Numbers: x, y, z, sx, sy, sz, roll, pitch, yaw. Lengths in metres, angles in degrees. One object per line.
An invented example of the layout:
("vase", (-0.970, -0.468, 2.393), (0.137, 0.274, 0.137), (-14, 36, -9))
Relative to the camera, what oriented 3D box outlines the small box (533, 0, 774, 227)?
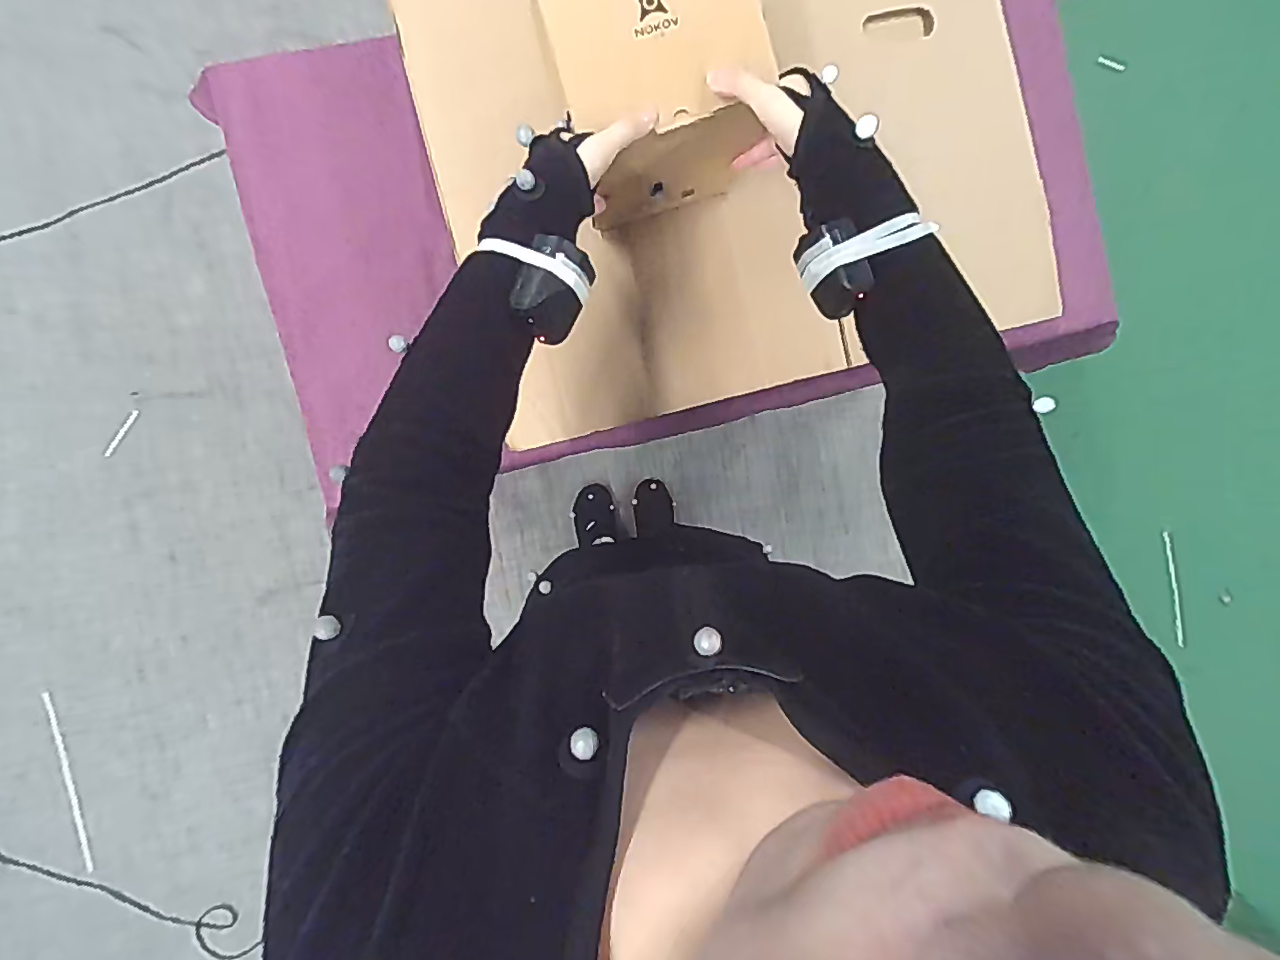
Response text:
("small box", (0.004, -0.372, 0.507), (0.168, 0.176, 0.179), (-17, 97, 1))
